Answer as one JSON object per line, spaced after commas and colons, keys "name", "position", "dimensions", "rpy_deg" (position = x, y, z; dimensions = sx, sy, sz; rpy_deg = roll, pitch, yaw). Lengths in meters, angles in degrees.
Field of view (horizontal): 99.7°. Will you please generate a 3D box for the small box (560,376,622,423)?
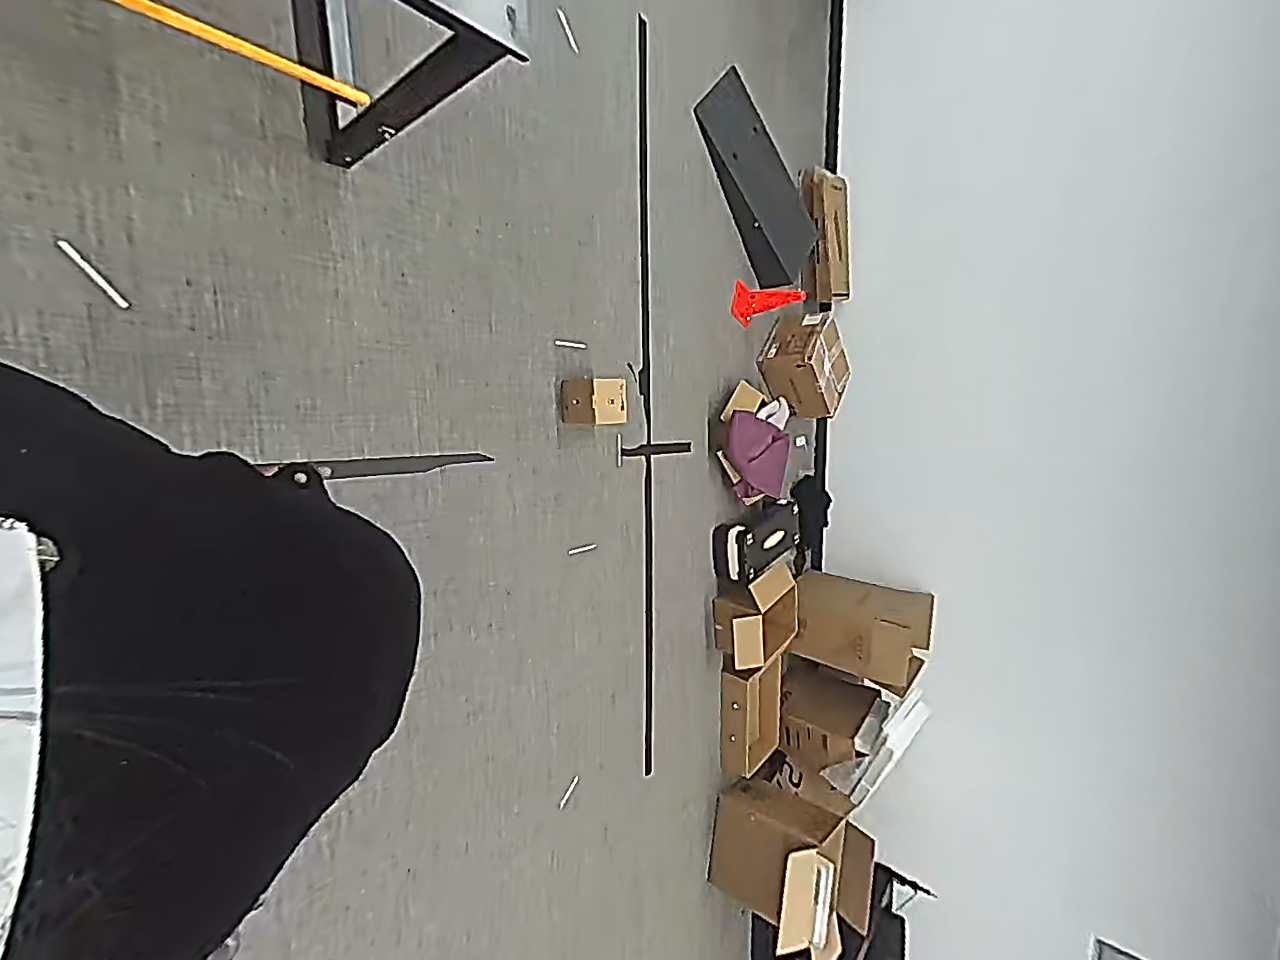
{"name": "small box", "position": [-0.189, -0.300, 2.034], "dimensions": [0.179, 0.176, 0.168], "rpy_deg": [-10, 102, -49]}
